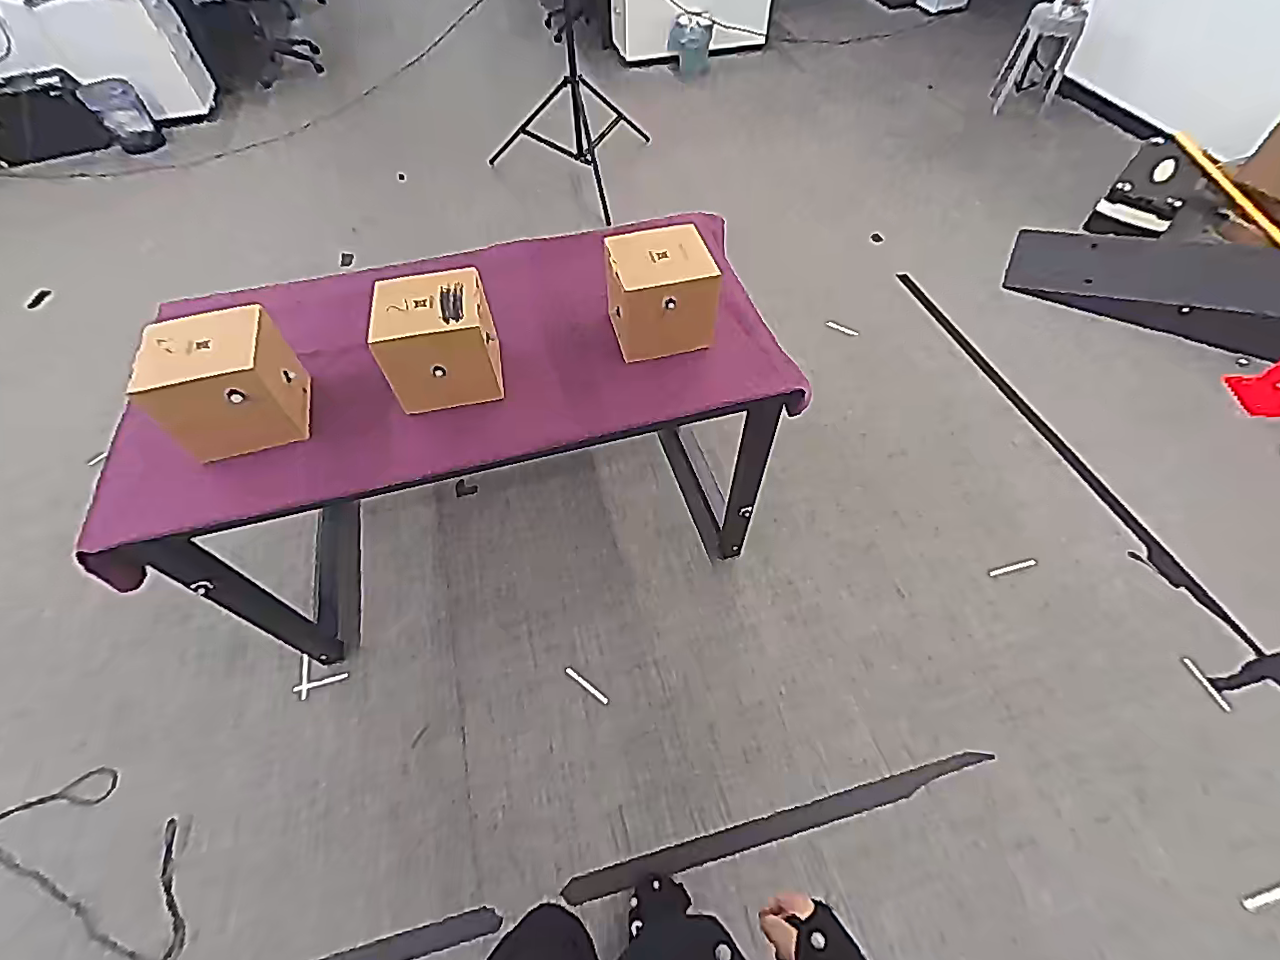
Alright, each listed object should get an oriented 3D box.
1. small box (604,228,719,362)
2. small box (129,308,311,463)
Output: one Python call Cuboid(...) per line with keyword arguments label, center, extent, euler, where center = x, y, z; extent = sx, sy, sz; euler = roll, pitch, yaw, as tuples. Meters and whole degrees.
Cuboid(label="small box", center=(0.037, -0.346, 1.027), extent=(0.179, 0.176, 0.168), euler=(-12, 56, -8))
Cuboid(label="small box", center=(-0.680, -0.154, 0.904), extent=(0.179, 0.176, 0.168), euler=(-16, 55, -10))
